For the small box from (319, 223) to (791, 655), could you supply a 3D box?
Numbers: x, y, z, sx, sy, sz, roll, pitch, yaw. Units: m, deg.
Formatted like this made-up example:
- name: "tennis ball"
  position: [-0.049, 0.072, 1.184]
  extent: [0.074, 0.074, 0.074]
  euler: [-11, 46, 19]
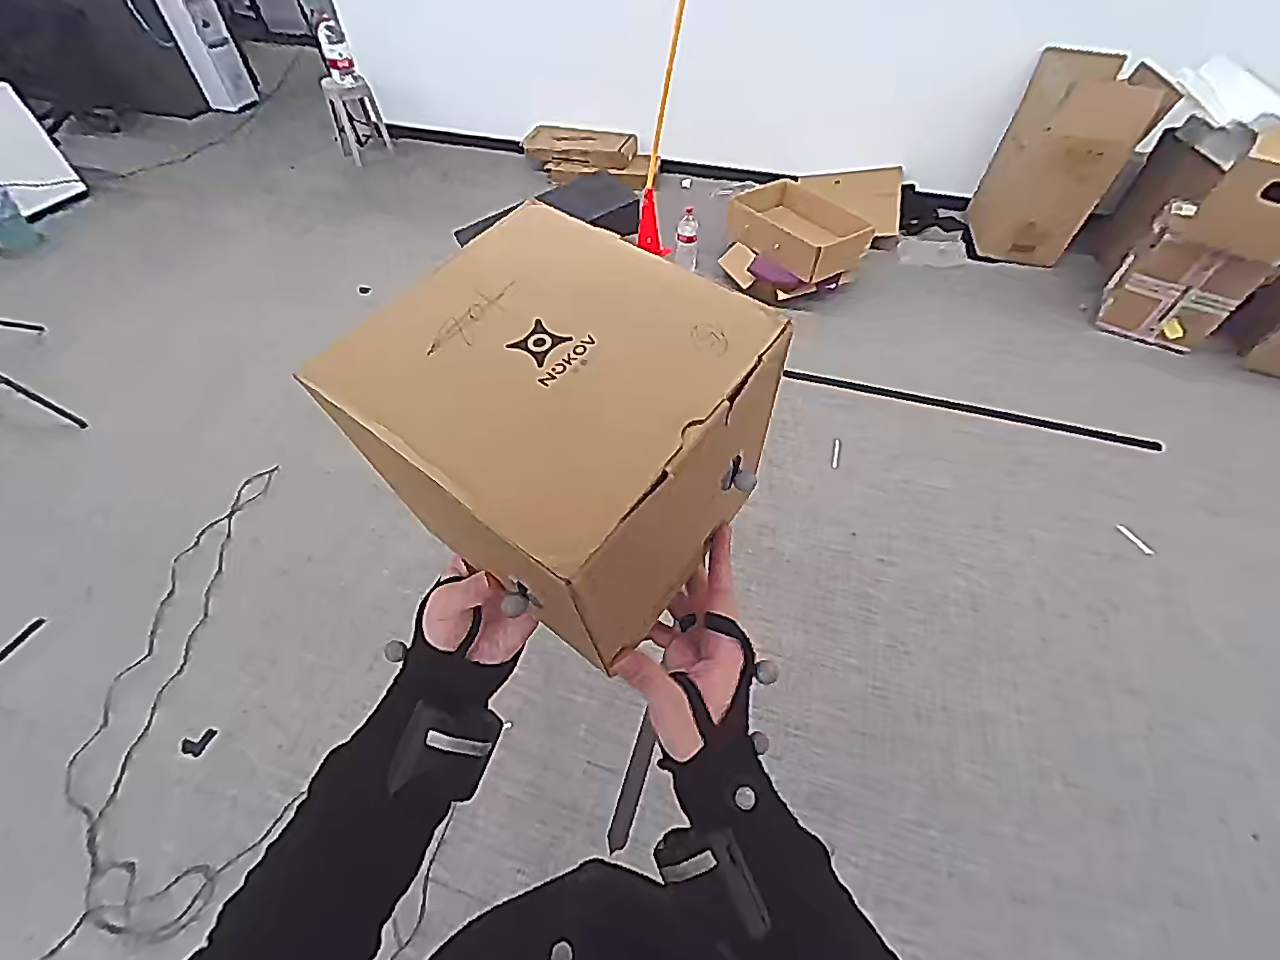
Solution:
- name: "small box"
  position: [-0.037, -0.015, 0.333]
  extent: [0.179, 0.176, 0.168]
  euler: [32, 65, 21]
